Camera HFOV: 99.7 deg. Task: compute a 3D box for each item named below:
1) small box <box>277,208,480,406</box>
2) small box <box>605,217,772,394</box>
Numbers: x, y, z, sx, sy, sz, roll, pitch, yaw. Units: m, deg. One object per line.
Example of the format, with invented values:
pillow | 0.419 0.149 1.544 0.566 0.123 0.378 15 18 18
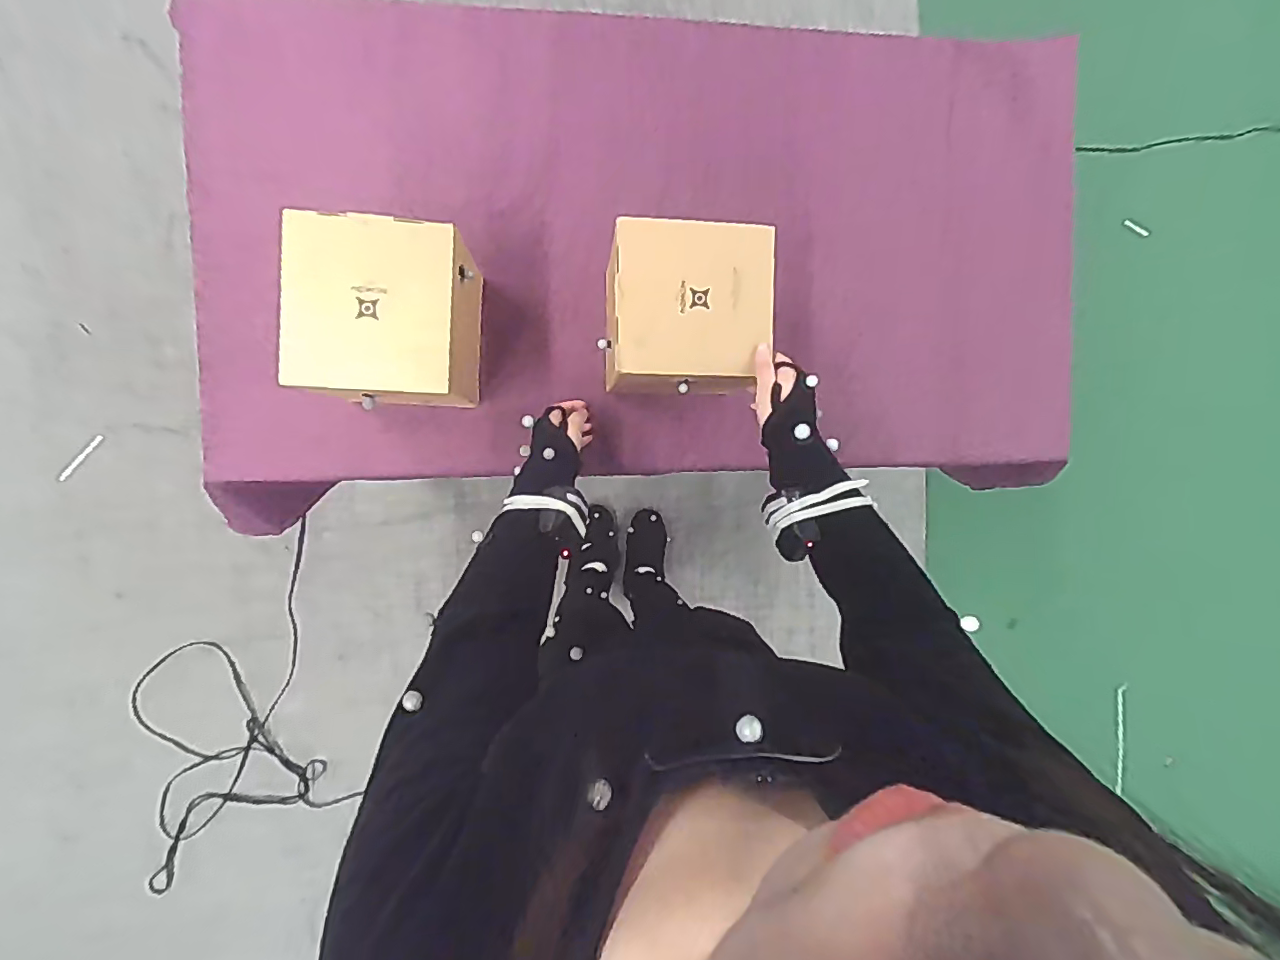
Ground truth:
small box | -0.285 -0.182 0.624 0.168 0.176 0.179 2 91 -6
small box | 0.047 -0.198 0.660 0.179 0.176 0.168 1 92 -7
